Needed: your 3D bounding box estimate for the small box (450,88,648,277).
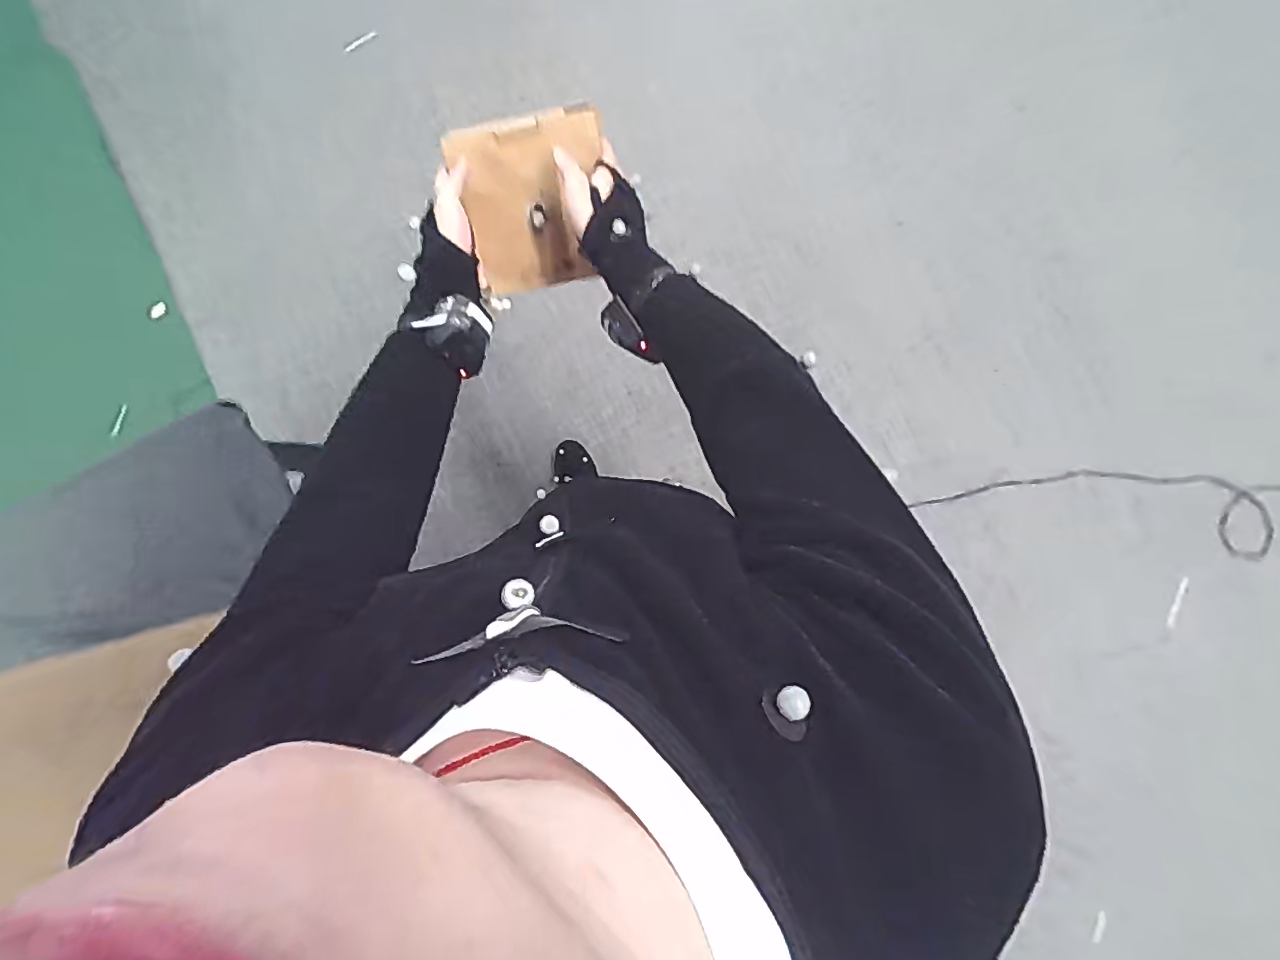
[{"bbox_3d":[-0.110,-0.368,0.682,0.179,0.168,0.176,-26,127,-20],"label":"small box"}]
